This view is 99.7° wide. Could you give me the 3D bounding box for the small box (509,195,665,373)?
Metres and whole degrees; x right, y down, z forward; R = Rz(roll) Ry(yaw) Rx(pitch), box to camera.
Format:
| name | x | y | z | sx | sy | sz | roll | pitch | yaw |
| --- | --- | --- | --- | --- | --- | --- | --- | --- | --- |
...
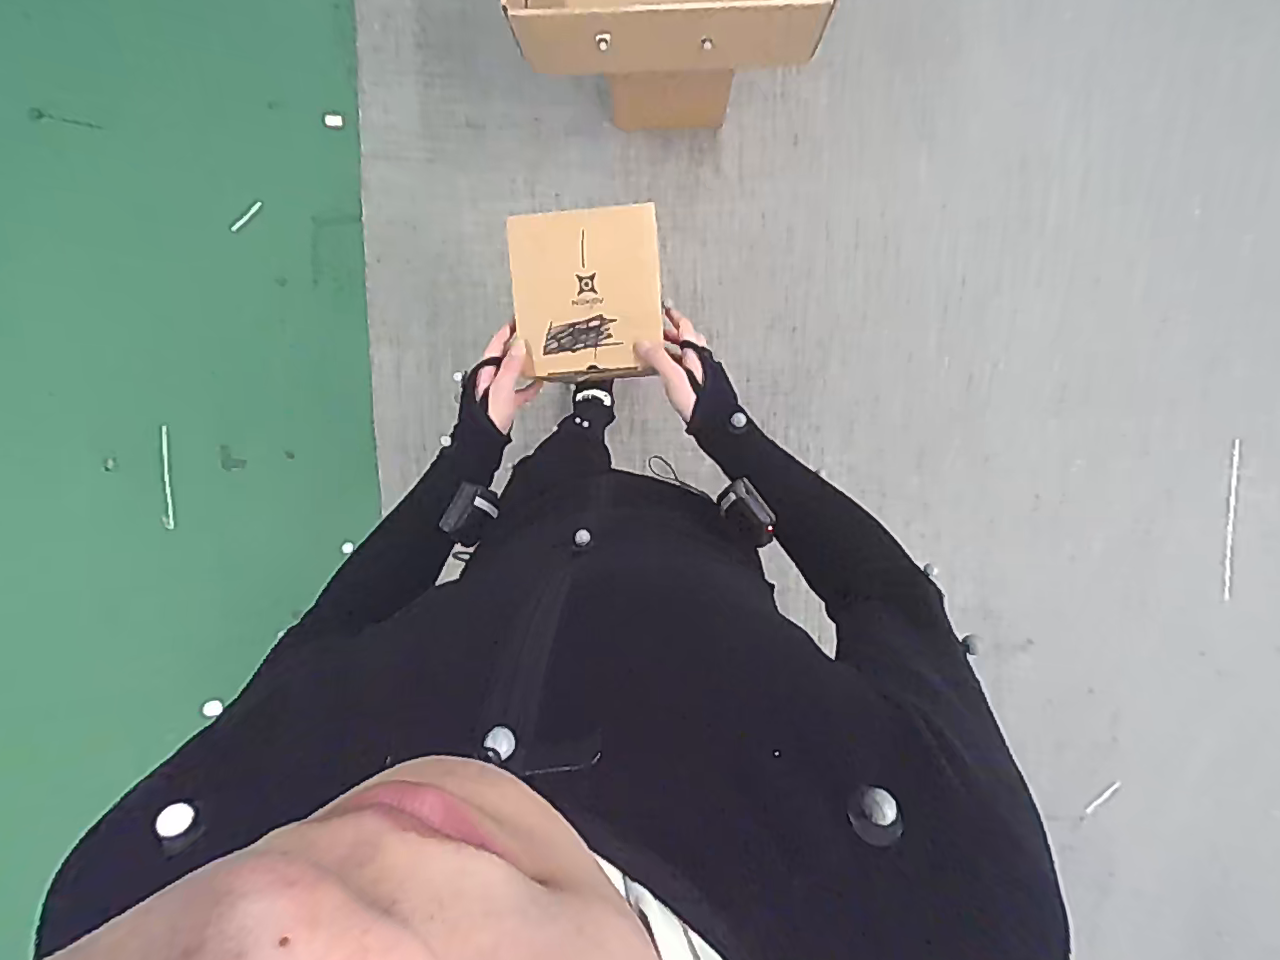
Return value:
| name | x | y | z | sx | sy | sz | roll | pitch | yaw |
| --- | --- | --- | --- | --- | --- | --- | --- | --- | --- |
| small box | -0.054 | -0.226 | 0.672 | 0.168 | 0.176 | 0.179 | -3 | 97 | 3 |
